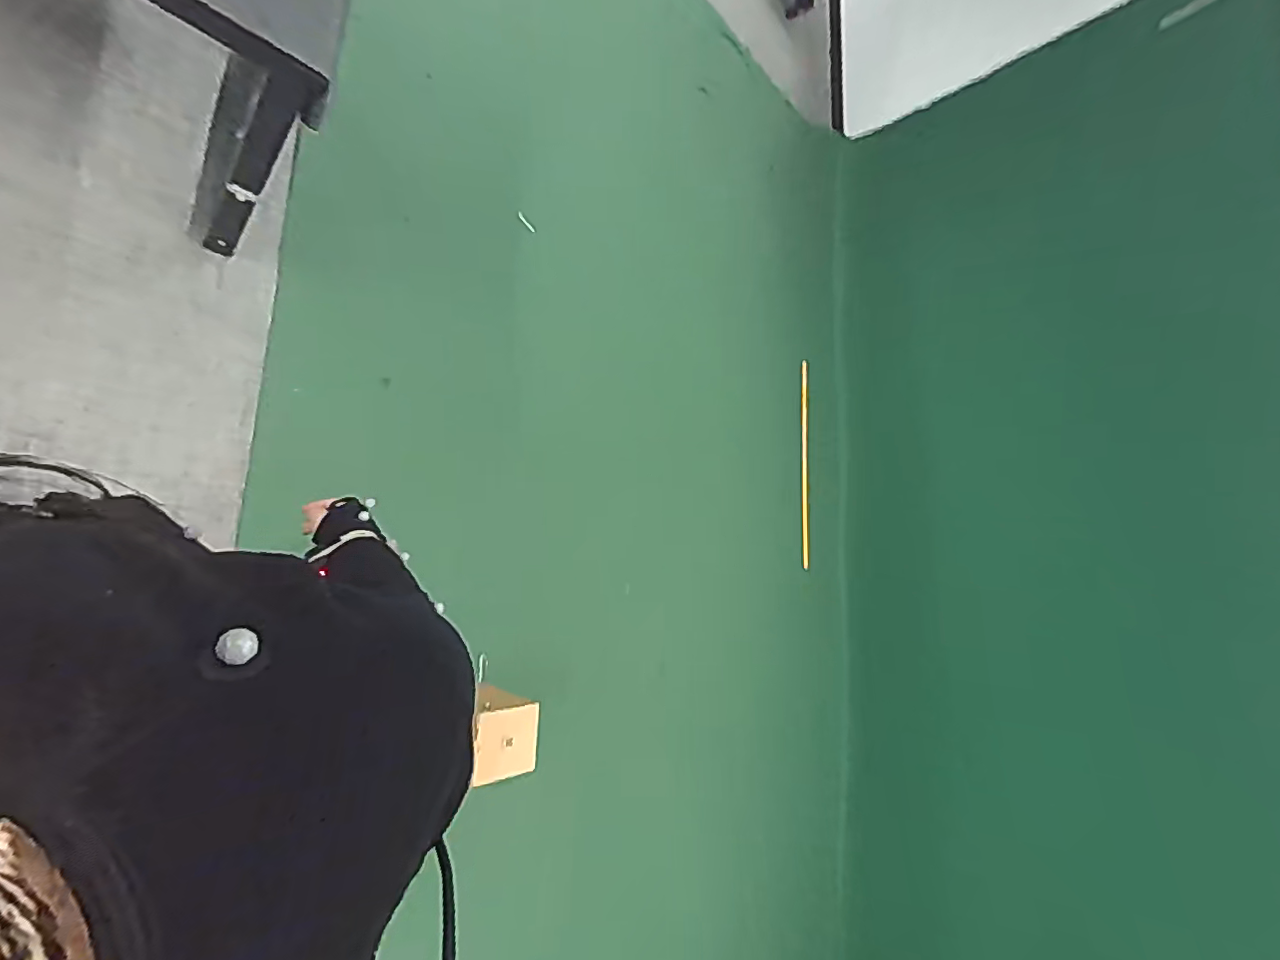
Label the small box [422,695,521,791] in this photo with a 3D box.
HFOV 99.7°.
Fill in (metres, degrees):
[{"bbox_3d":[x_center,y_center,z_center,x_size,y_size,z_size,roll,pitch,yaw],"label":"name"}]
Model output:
[{"bbox_3d":[-0.428,0.658,1.378,0.179,0.176,0.168,11,78,-47],"label":"small box"}]
